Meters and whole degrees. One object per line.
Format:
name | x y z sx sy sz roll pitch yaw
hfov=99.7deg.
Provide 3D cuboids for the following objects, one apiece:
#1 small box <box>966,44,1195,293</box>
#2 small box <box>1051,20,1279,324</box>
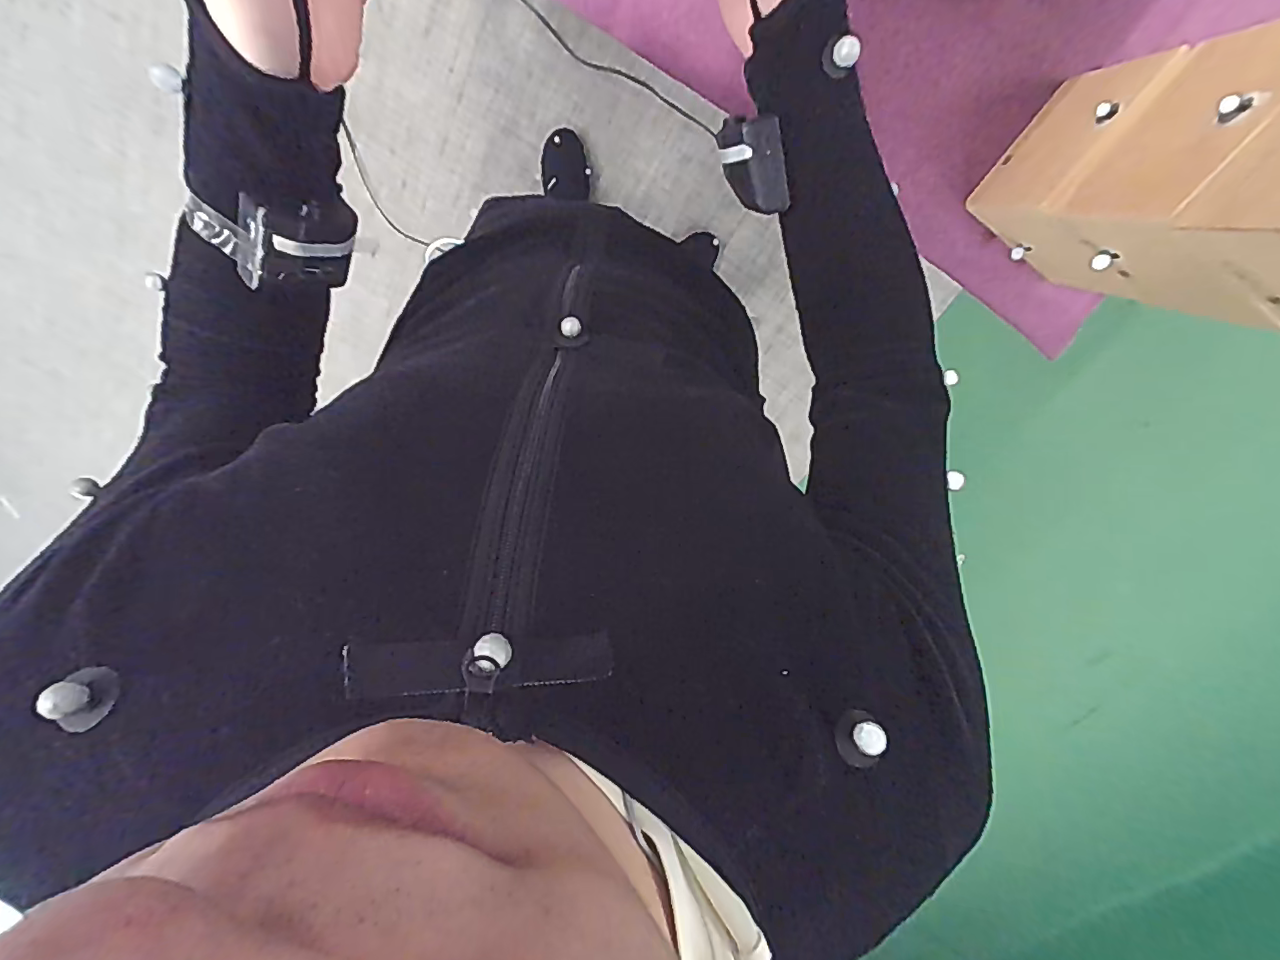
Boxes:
small box | 0.536 -0.349 0.629 0.179 0.176 0.168 30 115 -14
small box | 0.535 -0.274 0.484 0.168 0.176 0.179 31 115 -13
